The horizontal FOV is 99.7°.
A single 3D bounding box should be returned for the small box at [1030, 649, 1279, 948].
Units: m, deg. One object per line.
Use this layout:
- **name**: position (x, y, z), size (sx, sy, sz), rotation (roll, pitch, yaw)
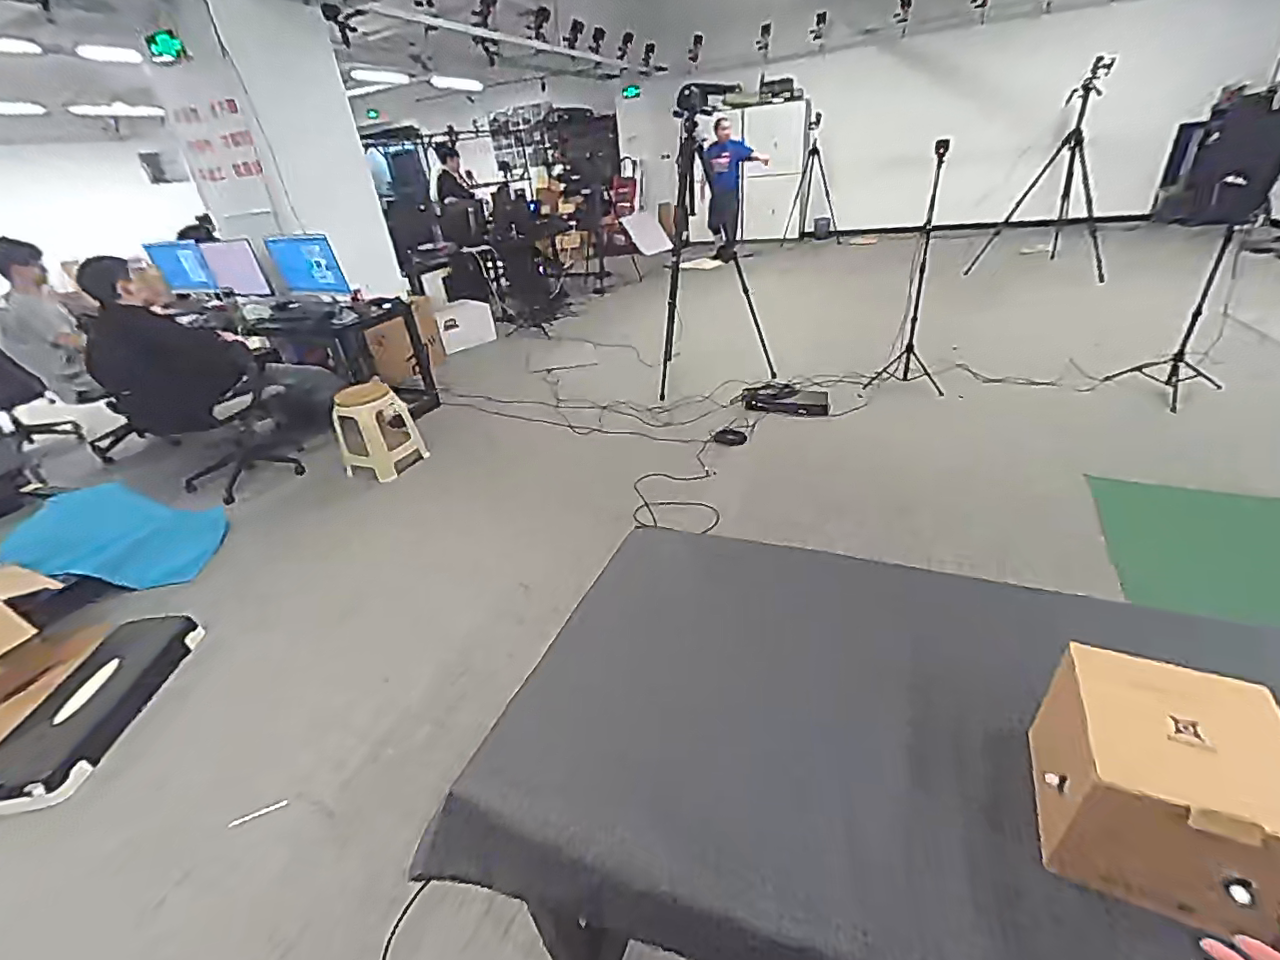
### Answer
- **small box**: position (0.520, 0.312, 0.547), size (0.168, 0.176, 0.179), rotation (11, 33, 25)
